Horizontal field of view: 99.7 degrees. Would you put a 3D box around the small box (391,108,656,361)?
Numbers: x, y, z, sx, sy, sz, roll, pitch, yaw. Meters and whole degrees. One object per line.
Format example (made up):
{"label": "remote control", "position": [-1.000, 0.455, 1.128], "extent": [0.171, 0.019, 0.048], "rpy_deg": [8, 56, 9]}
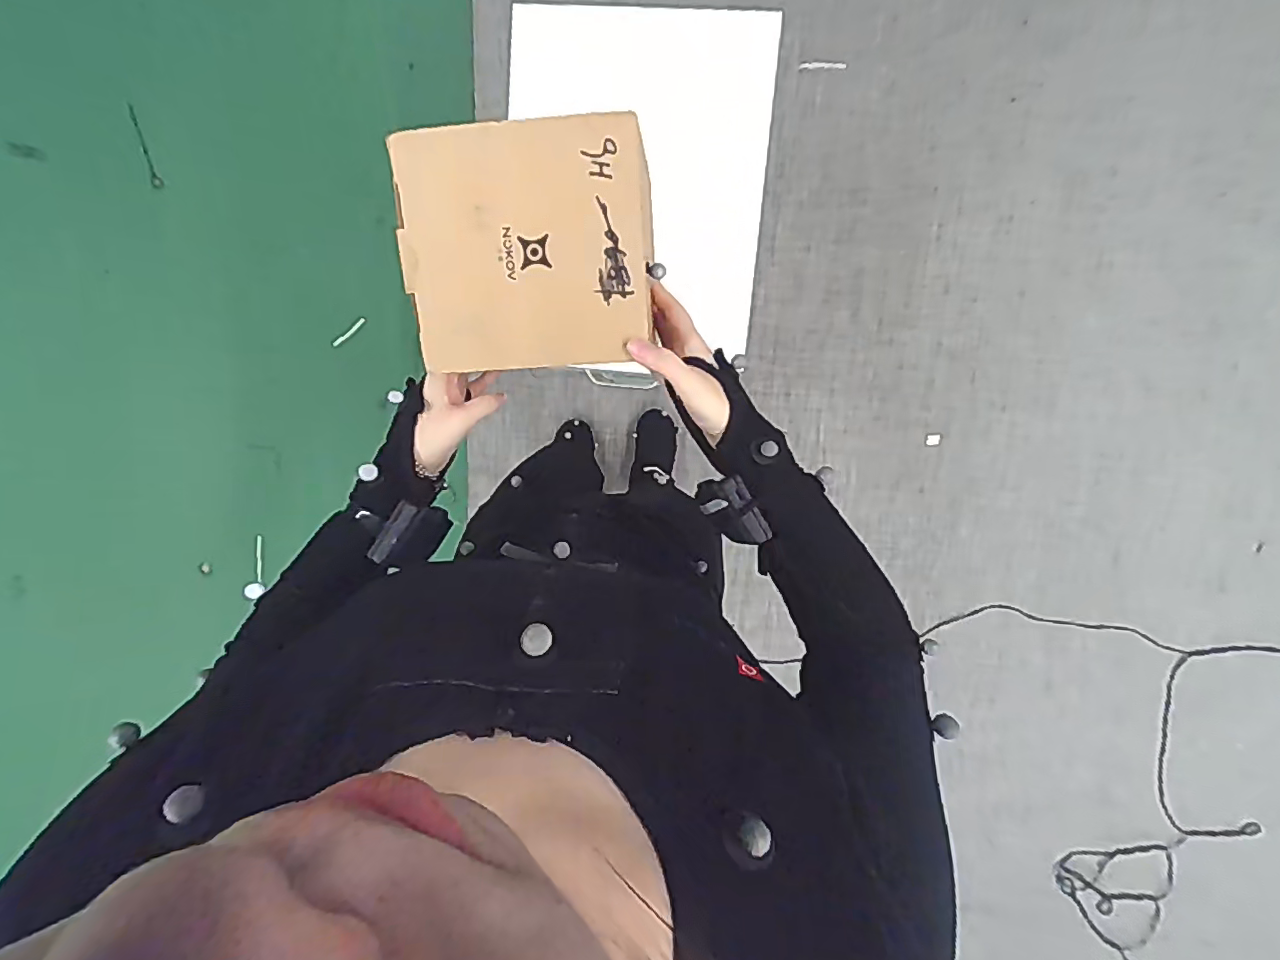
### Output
{"label": "small box", "position": [-0.080, -0.190, 0.468], "extent": [0.179, 0.176, 0.168], "rpy_deg": [-1, 105, 5]}
